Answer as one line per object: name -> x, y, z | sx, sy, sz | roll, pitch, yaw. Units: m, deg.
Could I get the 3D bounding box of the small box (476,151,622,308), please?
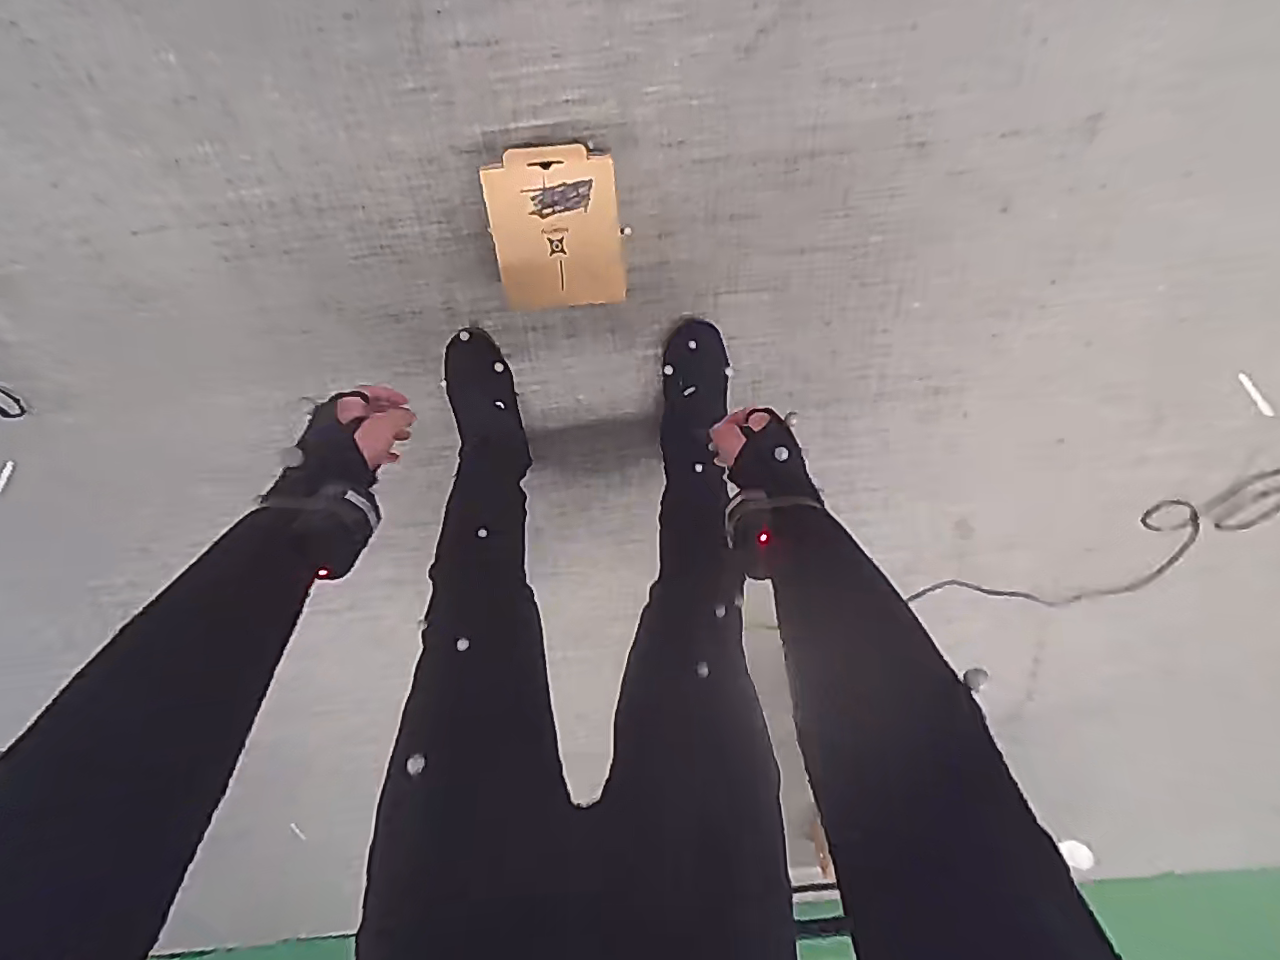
small box -> -0.116, -0.360, 0.767 | 0.168, 0.176, 0.179 | -4, 123, 2

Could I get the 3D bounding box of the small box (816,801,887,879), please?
small box -> 0.686, 1.179, 1.776 | 0.168, 0.176, 0.179 | -3, 124, 3
